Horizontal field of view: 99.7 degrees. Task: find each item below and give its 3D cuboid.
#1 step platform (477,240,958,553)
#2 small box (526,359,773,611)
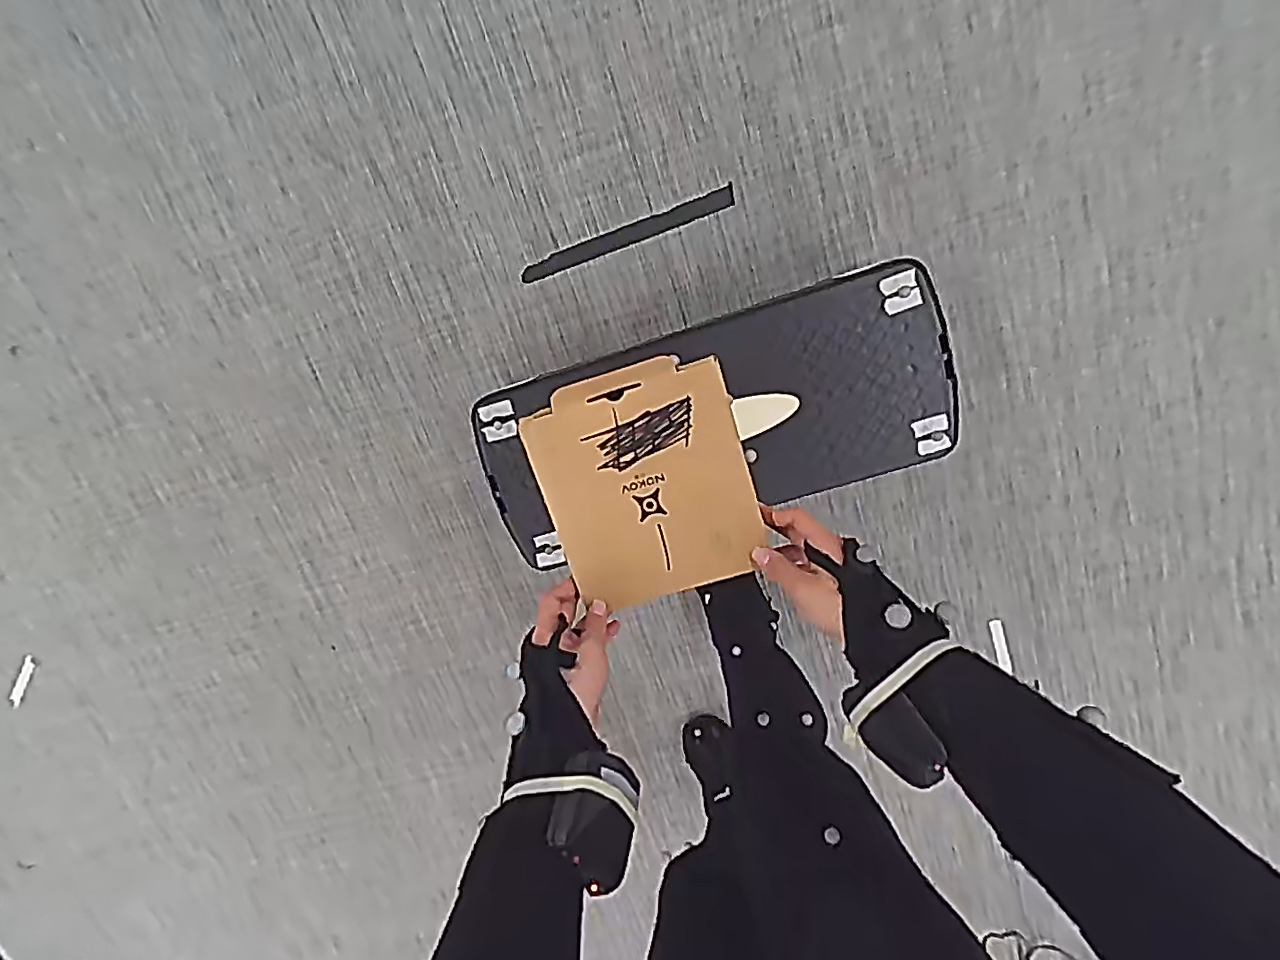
[{"bbox_3d":[0.107,-0.118,0.836,0.684,0.204,0.286,-17,101,7],"label":"step platform"},{"bbox_3d":[0.012,-0.005,0.517,0.168,0.176,0.179,-17,100,7],"label":"small box"}]
